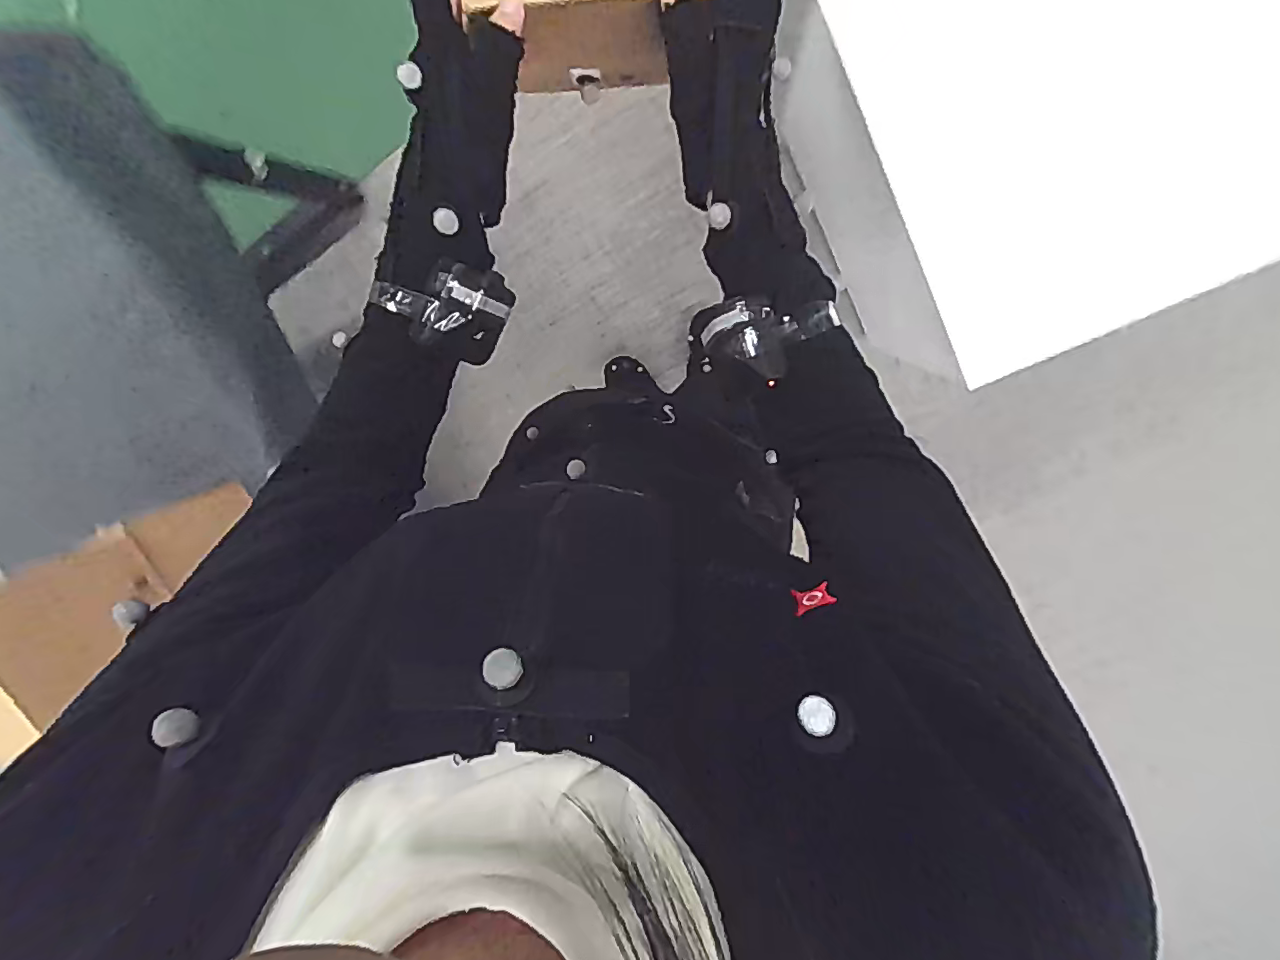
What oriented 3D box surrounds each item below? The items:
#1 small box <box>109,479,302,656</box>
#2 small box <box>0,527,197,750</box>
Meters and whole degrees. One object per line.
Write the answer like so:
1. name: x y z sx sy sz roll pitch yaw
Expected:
1. small box: -0.628 0.124 0.758 0.168 0.176 0.179 -22 103 17
2. small box: -0.663 0.177 0.606 0.179 0.176 0.168 -22 102 19
